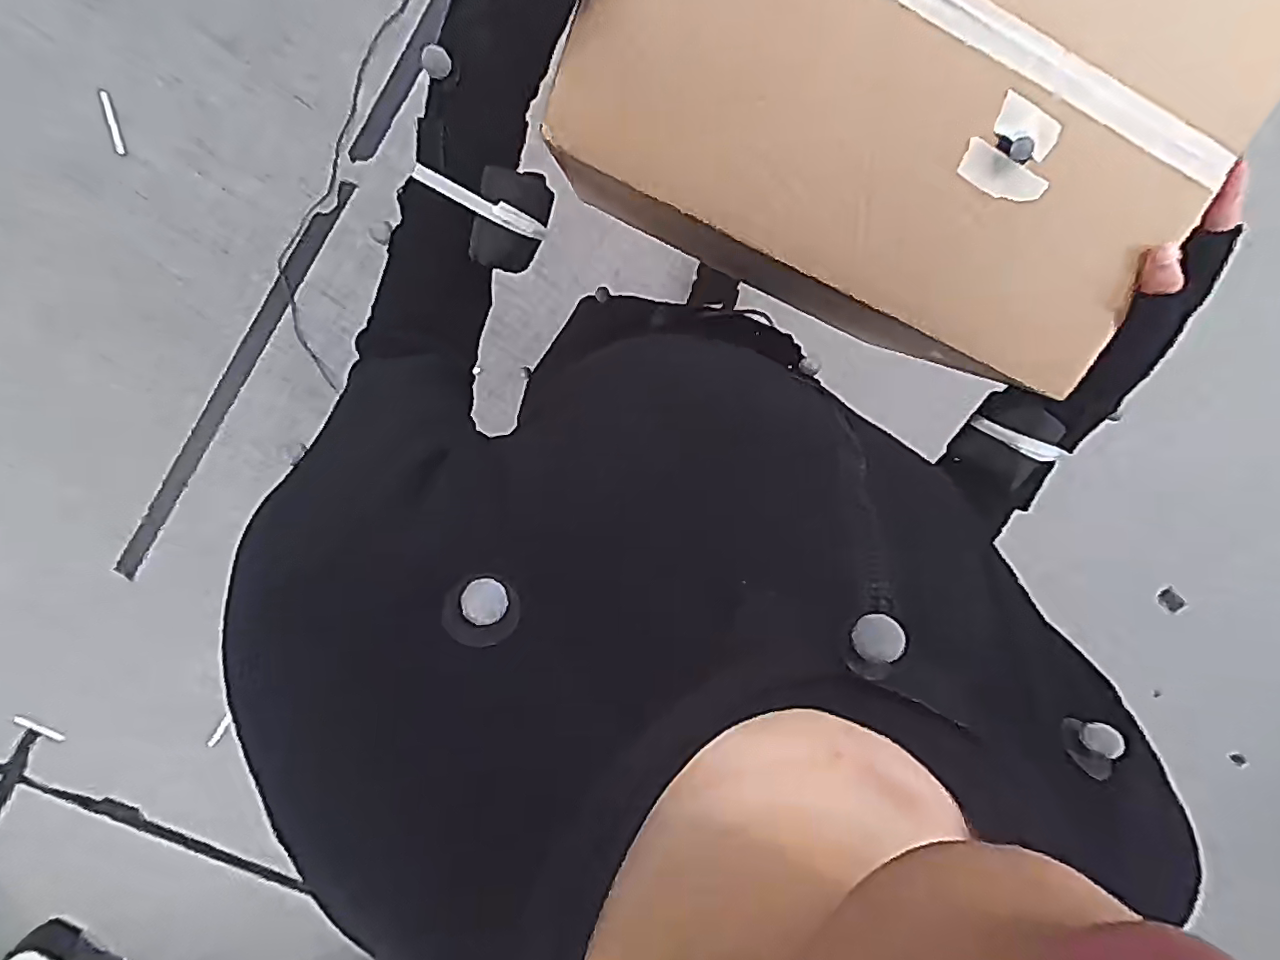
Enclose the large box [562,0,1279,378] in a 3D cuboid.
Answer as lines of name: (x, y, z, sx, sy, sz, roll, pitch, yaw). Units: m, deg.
large box: (0.181, -0.329, 0.461, 0.408, 0.320, 0.320, 22, 110, -11)
